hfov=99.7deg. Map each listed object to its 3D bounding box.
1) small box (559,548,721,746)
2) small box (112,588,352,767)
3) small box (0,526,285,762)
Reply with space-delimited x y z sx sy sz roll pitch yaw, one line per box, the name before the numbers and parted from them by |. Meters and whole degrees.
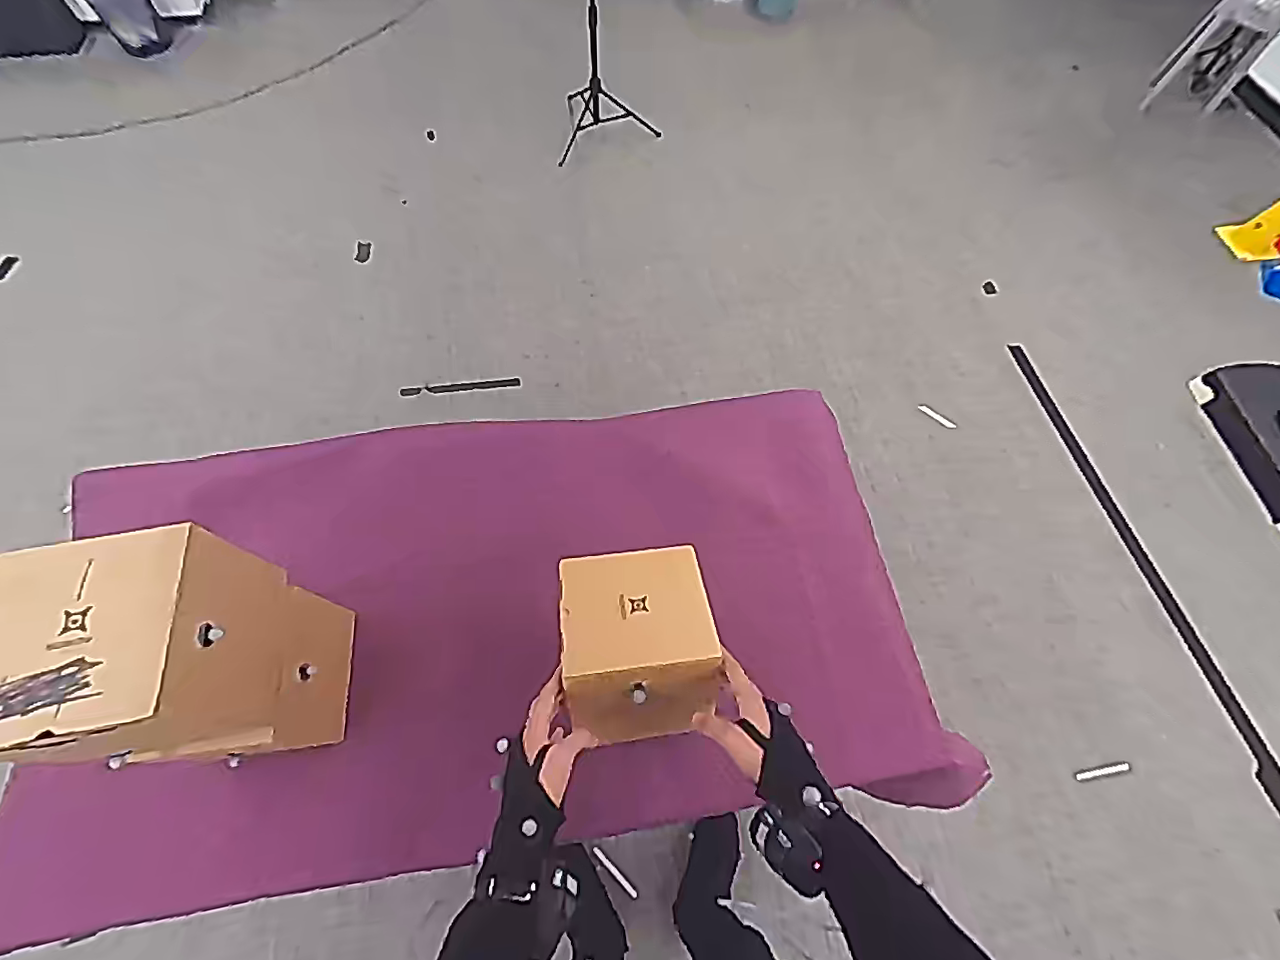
small box | -0.006 0.211 0.685 0.179 0.176 0.168 -7 39 -5
small box | -0.484 0.247 0.677 0.168 0.176 0.179 -5 64 -5
small box | -0.484 0.166 0.534 0.168 0.176 0.179 -9 64 -7
